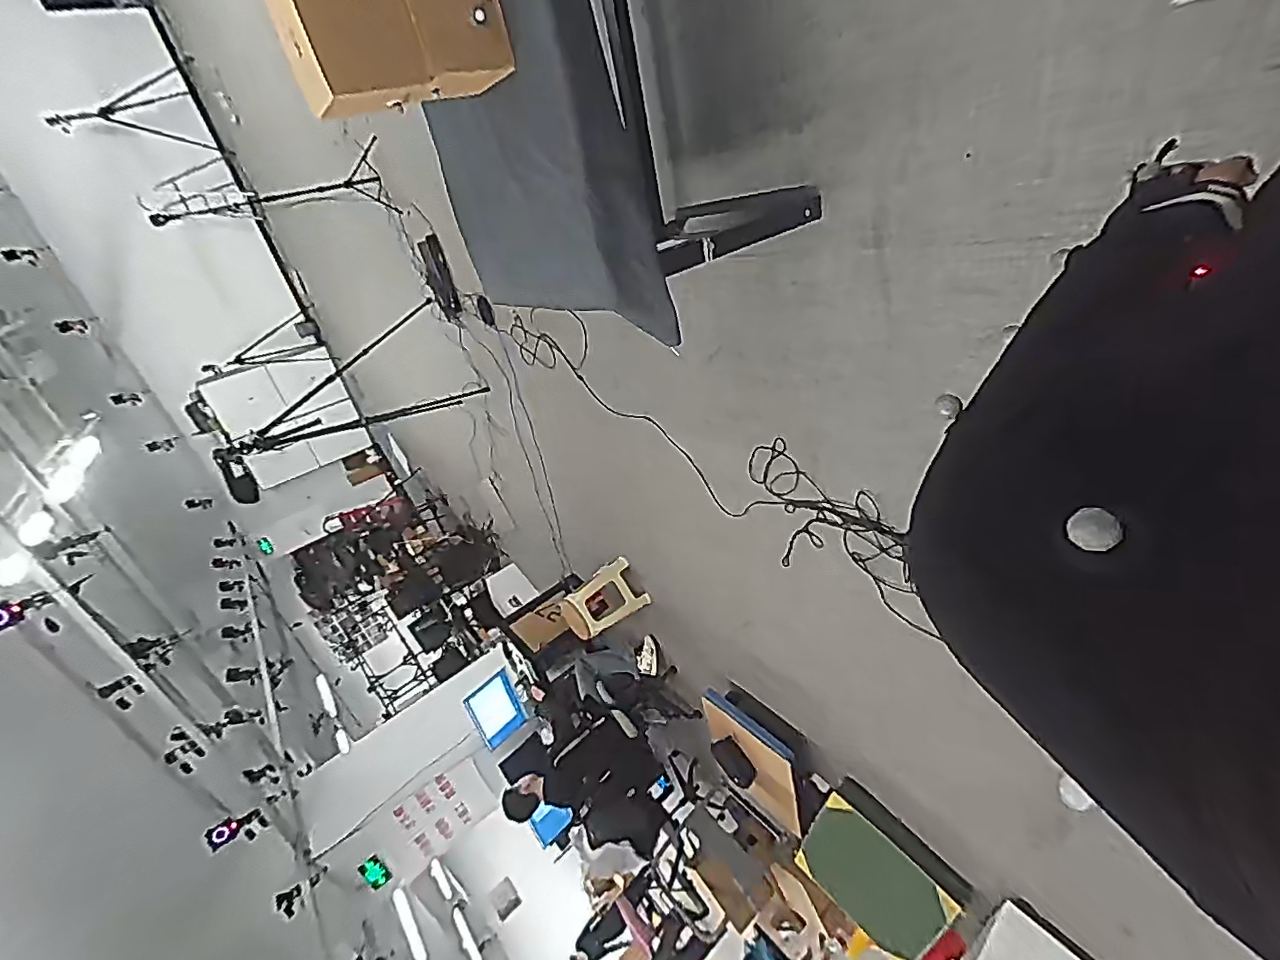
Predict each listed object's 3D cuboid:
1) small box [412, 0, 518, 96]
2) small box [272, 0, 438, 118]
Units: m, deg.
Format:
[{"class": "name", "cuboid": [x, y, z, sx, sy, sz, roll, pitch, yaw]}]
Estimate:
[{"class": "small box", "cuboid": [-0.345, -0.806, 0.966, 0.179, 0.176, 0.168, 22, 135, 47]}, {"class": "small box", "cuboid": [-0.465, -0.728, 0.891, 0.168, 0.176, 0.179, 23, 136, 49]}]
